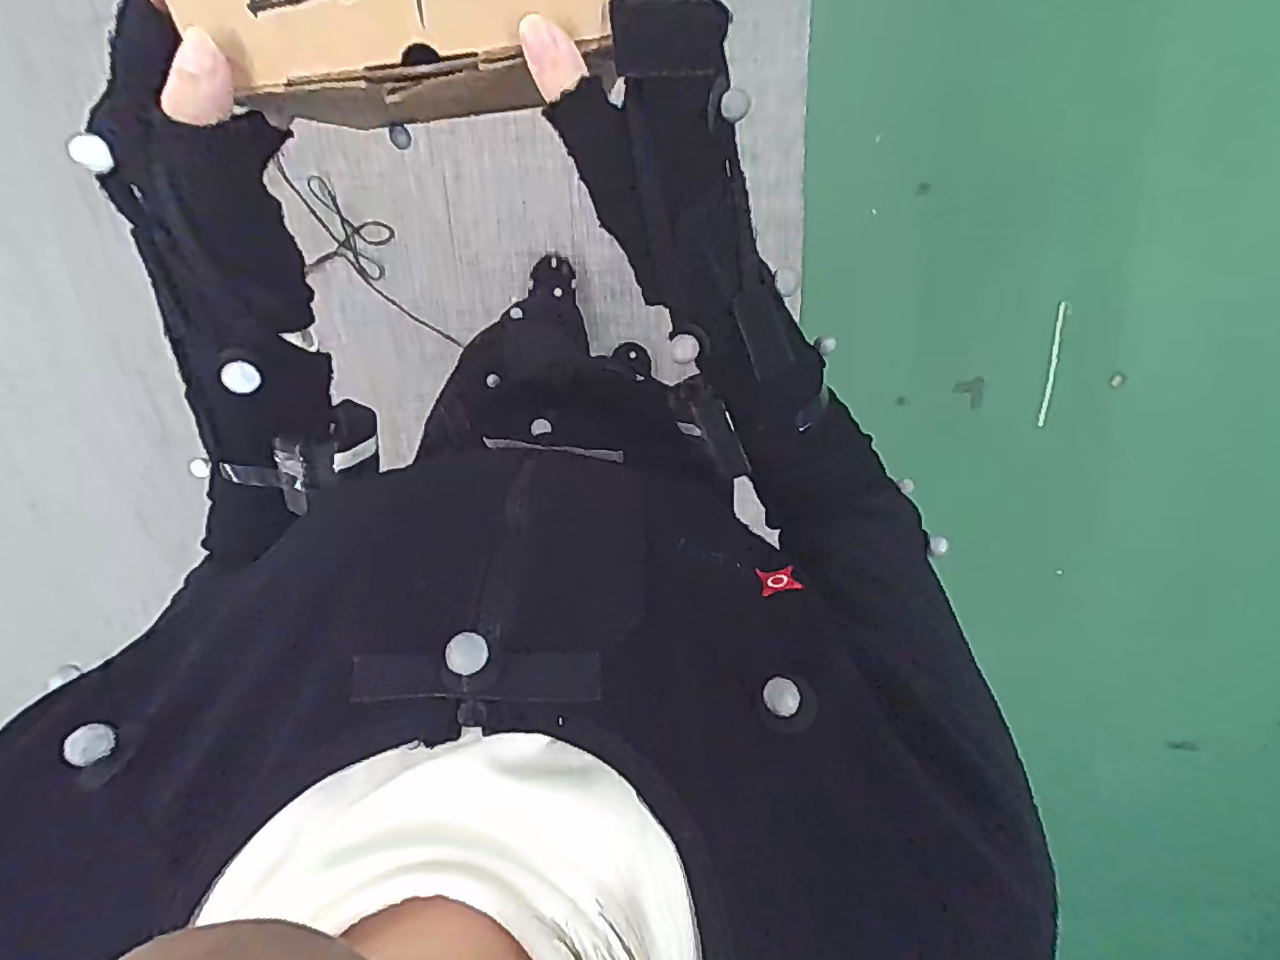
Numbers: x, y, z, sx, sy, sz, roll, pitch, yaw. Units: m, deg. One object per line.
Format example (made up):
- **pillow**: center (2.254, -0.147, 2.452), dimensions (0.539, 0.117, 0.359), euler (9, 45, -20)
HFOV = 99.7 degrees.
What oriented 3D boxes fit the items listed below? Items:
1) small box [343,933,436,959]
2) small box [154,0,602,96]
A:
- **small box**: center (-0.511, 1.047, 1.071), dimensions (0.168, 0.176, 0.179), euler (-3, 108, 0)
- **small box**: center (-0.108, -0.281, 0.231), dimensions (0.168, 0.176, 0.179), euler (-9, 120, -1)
